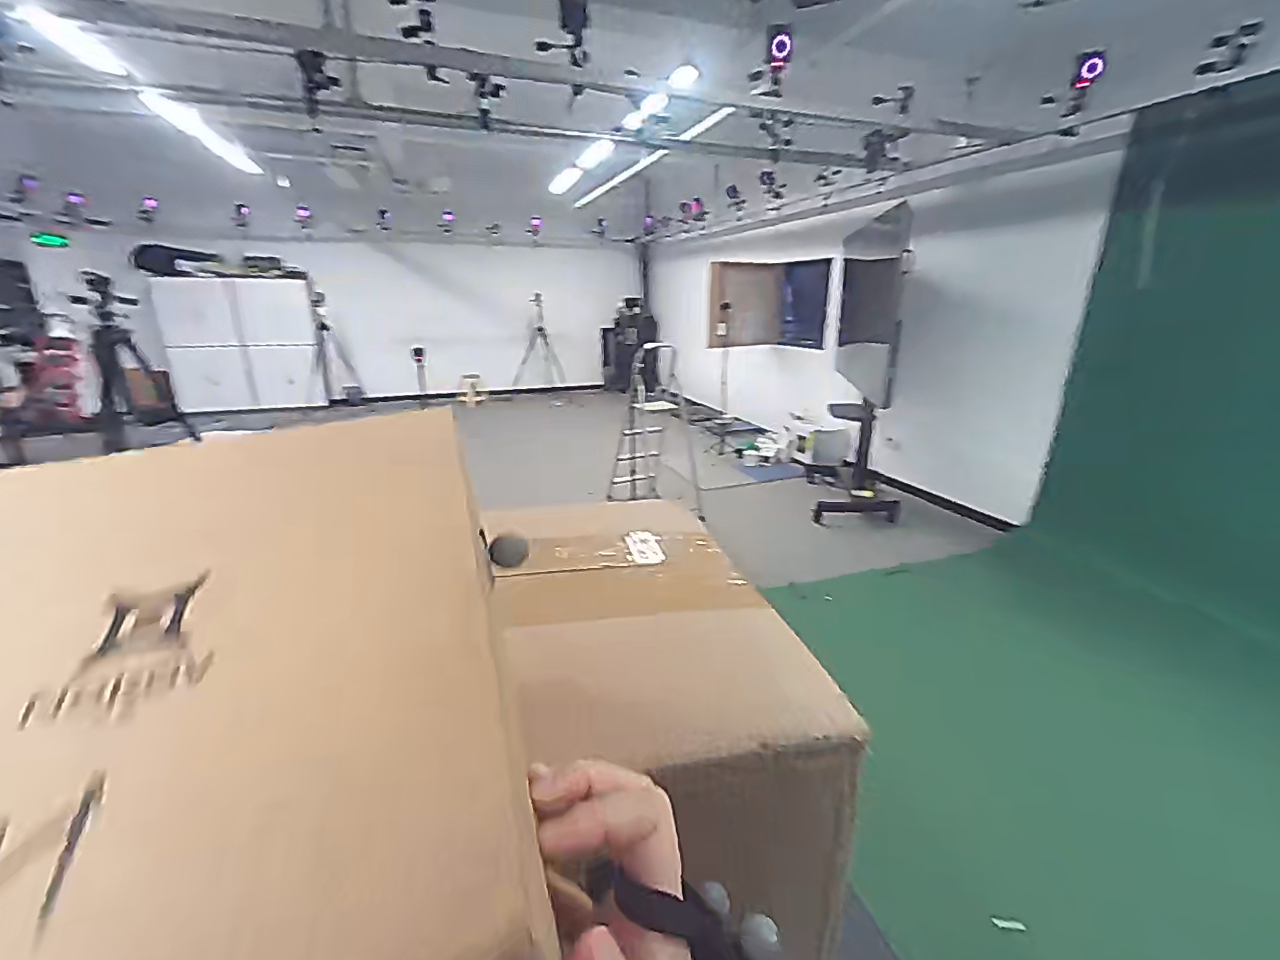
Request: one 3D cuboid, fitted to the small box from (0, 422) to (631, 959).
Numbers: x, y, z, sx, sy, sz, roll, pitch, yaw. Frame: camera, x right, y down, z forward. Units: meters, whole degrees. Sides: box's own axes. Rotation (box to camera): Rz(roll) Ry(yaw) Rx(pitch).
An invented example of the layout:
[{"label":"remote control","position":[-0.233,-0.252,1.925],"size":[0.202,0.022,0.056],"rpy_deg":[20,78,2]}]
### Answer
[{"label":"small box","position":[-0.111,0.105,0.196],"size":[0.168,0.176,0.179],"rpy_deg":[-11,46,-16]}]
